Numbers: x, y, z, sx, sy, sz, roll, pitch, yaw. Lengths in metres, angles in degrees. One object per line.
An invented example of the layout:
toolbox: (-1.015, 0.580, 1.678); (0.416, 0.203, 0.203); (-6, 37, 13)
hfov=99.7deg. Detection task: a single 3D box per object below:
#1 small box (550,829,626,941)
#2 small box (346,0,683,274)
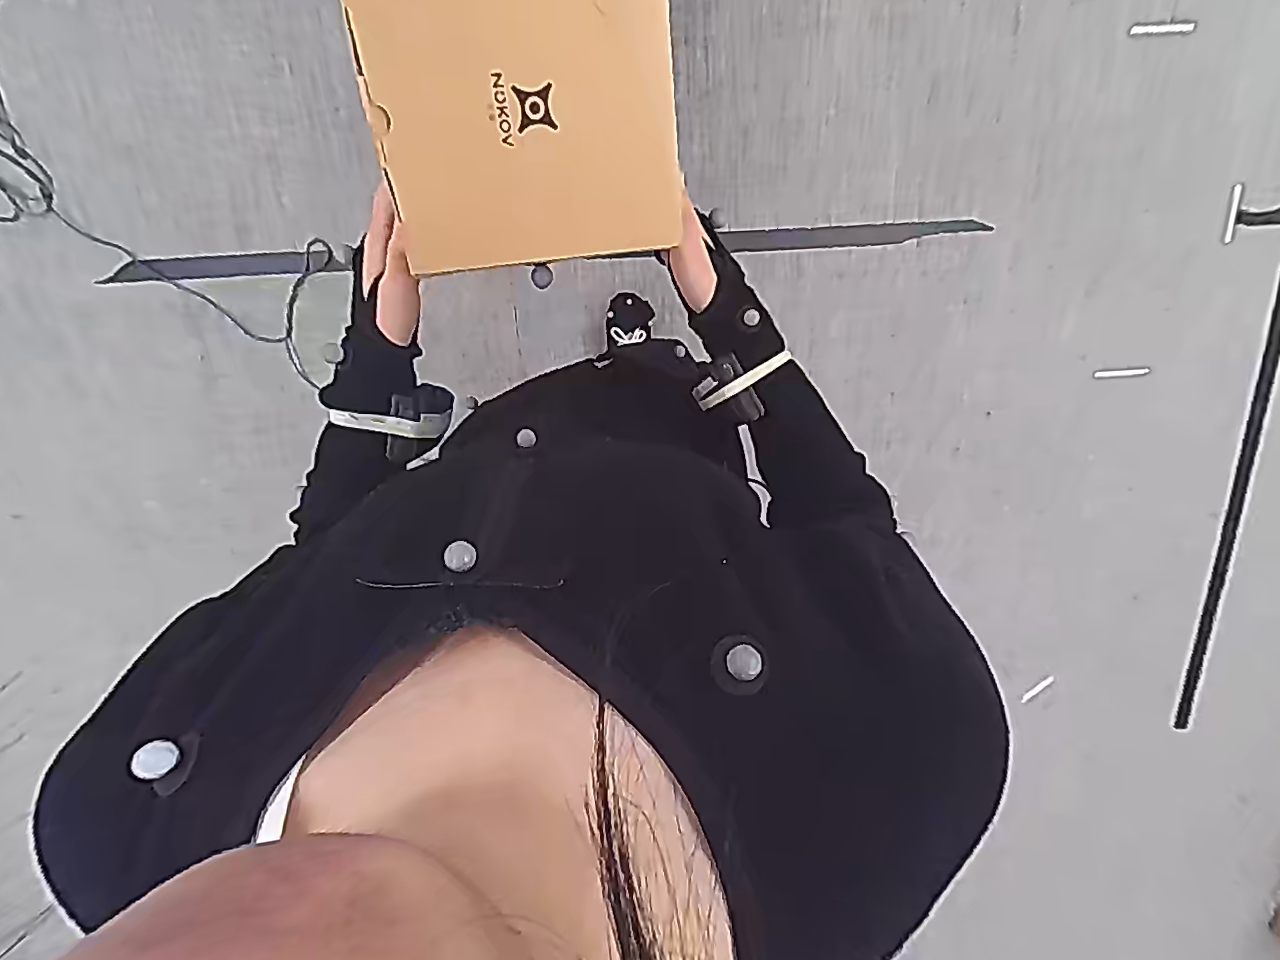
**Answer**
small box: (-0.130, 1.038, 1.398); (0.179, 0.176, 0.168); (-5, 104, -1)
small box: (-0.075, -0.248, 0.386); (0.179, 0.176, 0.168); (-8, 115, -4)
